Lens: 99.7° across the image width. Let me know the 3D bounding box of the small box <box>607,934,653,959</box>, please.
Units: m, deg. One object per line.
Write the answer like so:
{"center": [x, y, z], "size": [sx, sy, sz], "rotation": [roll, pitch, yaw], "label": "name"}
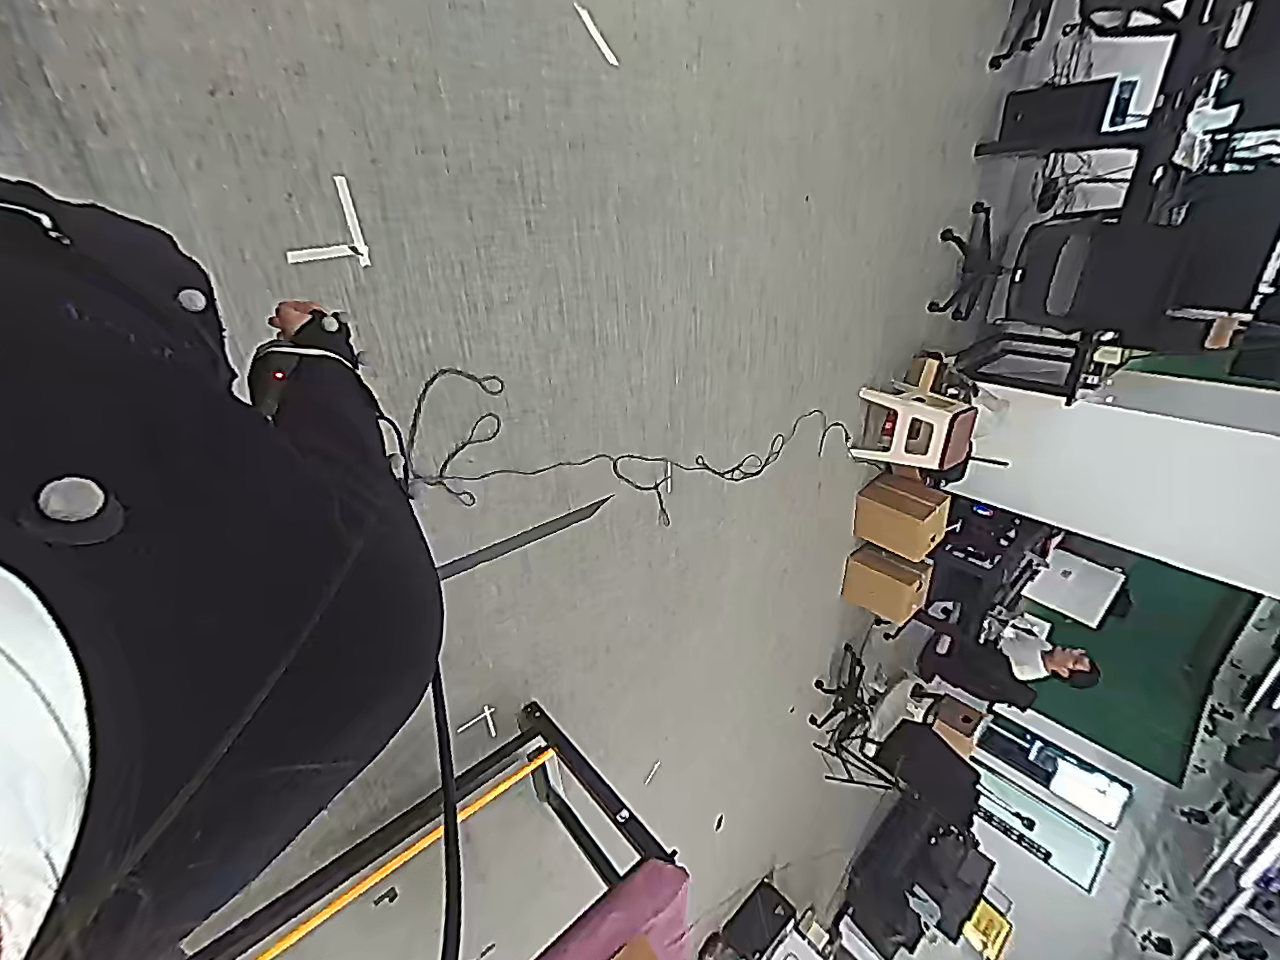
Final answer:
{"center": [-0.027, 1.346, 1.395], "size": [0.179, 0.176, 0.168], "rotation": [-25, 125, -31], "label": "small box"}
